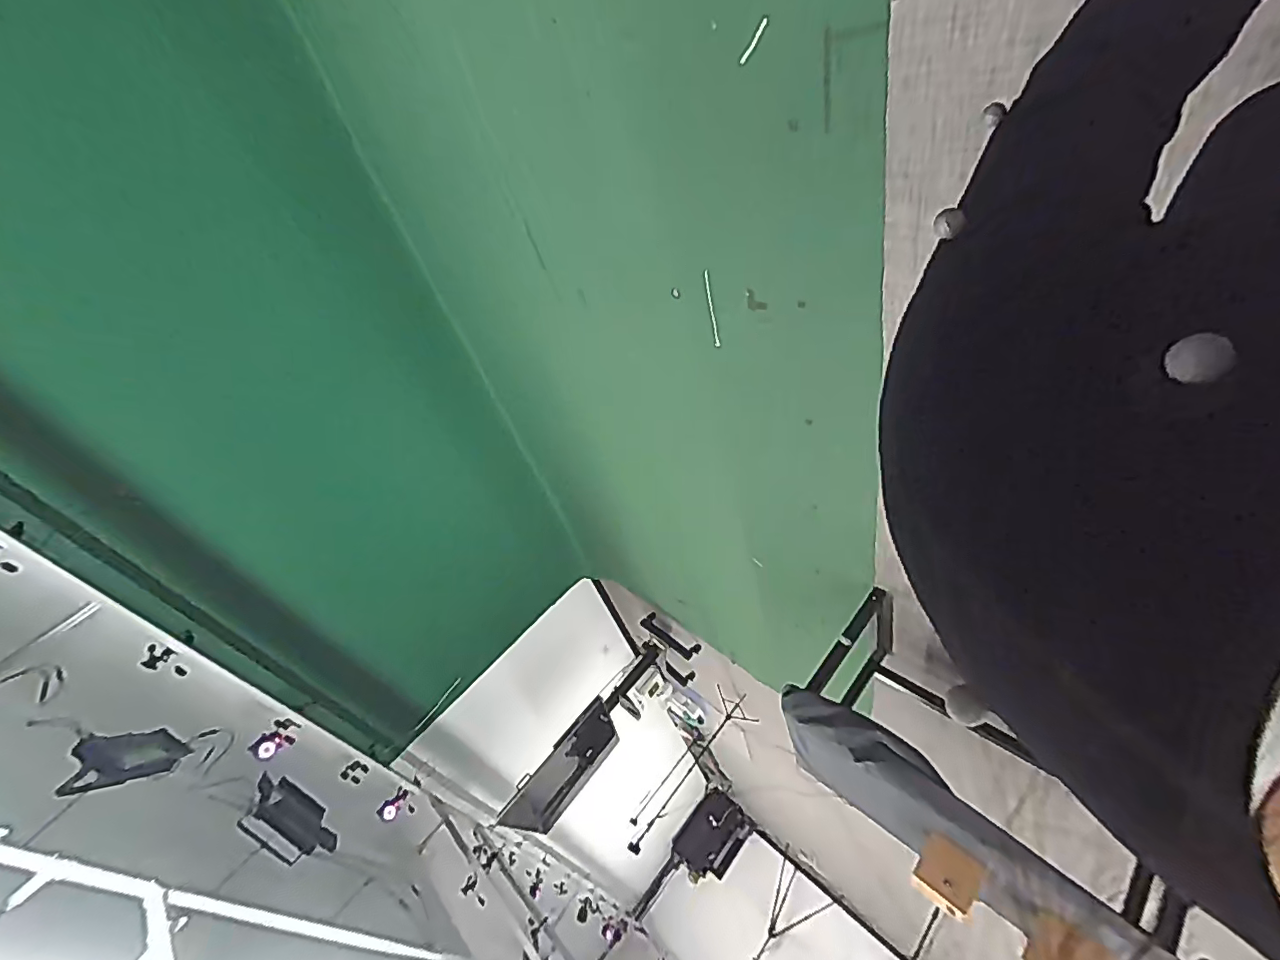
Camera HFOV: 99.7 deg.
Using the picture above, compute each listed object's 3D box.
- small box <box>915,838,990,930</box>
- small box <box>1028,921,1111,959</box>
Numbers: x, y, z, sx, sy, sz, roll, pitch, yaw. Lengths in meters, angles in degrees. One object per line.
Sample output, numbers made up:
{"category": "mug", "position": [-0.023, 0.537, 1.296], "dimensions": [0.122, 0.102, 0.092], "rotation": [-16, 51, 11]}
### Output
{"category": "small box", "position": [1.078, 1.392, 1.867], "dimensions": [0.179, 0.176, 0.168], "rotation": [24, 147, 42]}
{"category": "small box", "position": [1.311, 1.500, 1.653], "dimensions": [0.179, 0.176, 0.168], "rotation": [22, 146, 44]}
